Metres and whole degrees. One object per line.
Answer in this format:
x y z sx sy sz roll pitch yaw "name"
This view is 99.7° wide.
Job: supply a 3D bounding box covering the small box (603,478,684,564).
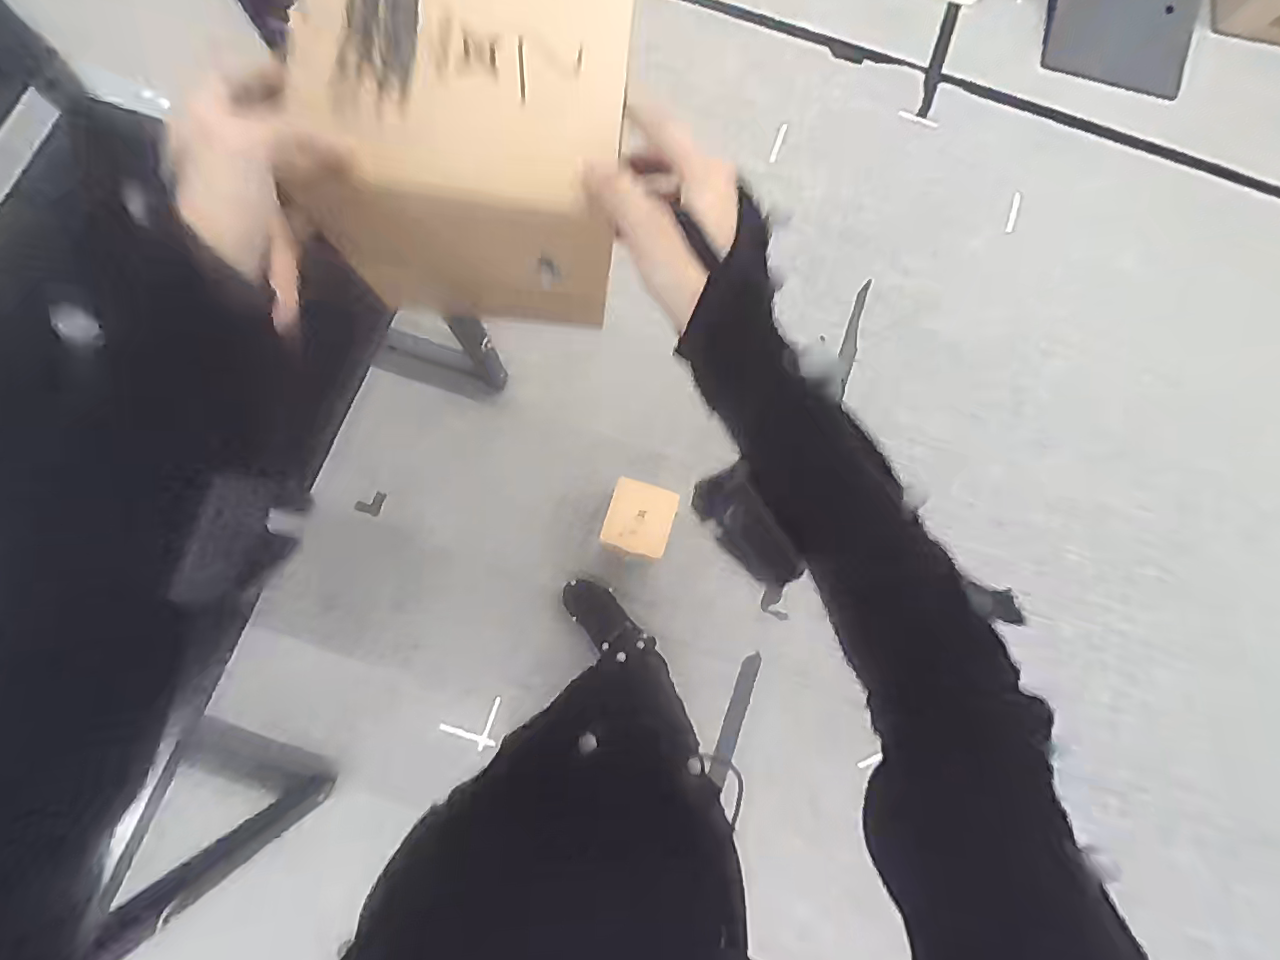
0.005 0.114 1.428 0.168 0.176 0.179 17 80 1 "small box"
